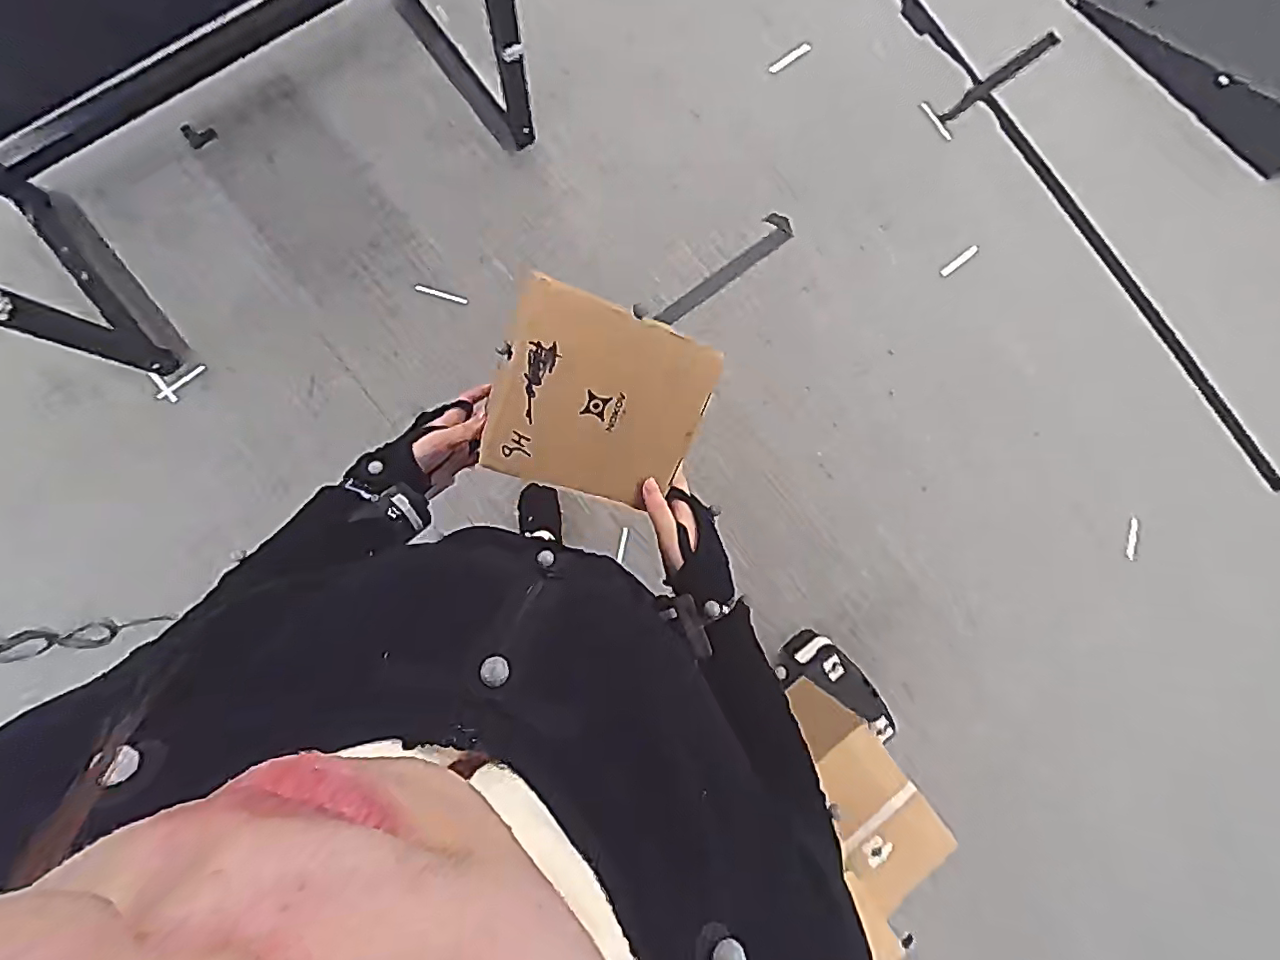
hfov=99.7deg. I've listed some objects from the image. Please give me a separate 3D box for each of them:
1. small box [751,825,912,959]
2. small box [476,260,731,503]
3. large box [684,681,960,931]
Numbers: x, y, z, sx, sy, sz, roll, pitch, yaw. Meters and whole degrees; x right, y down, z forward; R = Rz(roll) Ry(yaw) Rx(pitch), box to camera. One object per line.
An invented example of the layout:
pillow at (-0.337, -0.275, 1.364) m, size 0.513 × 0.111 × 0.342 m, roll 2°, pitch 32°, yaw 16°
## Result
small box at (0.308, 0.741, 0.914) m, size 0.179 × 0.176 × 0.168 m, roll -33°, pitch 90°, yaw -7°
small box at (-0.047, -0.102, 0.522) m, size 0.179 × 0.176 × 0.168 m, roll 16°, pitch 108°, yaw -21°
large box at (0.361, 0.719, 1.167) m, size 0.408 × 0.320 × 0.320 m, roll -37°, pitch 91°, yaw -8°
